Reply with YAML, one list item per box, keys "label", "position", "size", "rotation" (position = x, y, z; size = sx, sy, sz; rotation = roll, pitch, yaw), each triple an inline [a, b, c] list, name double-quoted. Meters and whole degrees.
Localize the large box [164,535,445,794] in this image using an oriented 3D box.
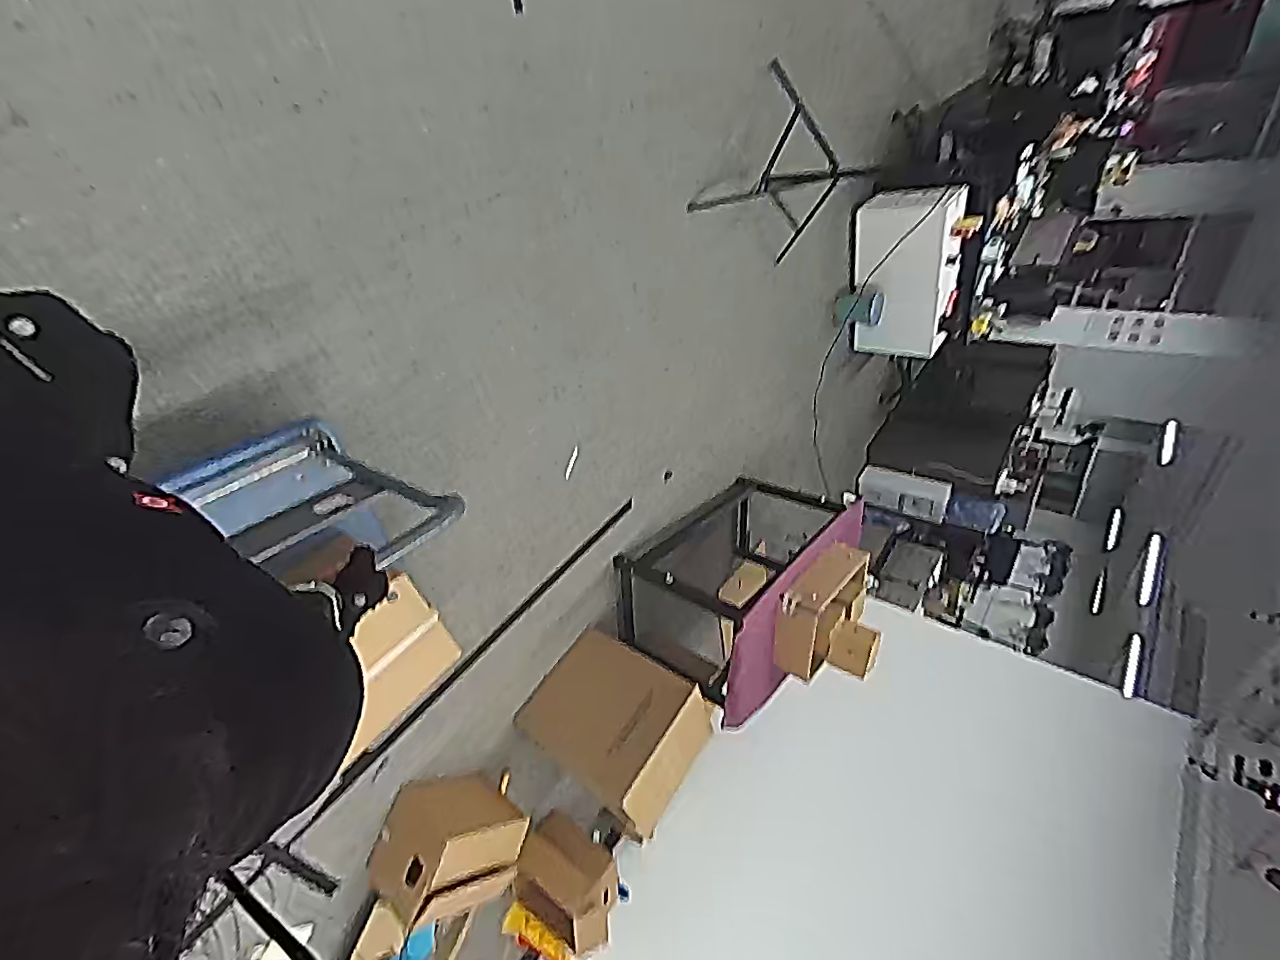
- label: "large box"
  position: [-0.752, 0.400, 1.254]
  size: [0.408, 0.320, 0.320]
  rotation: [-43, 134, -33]
